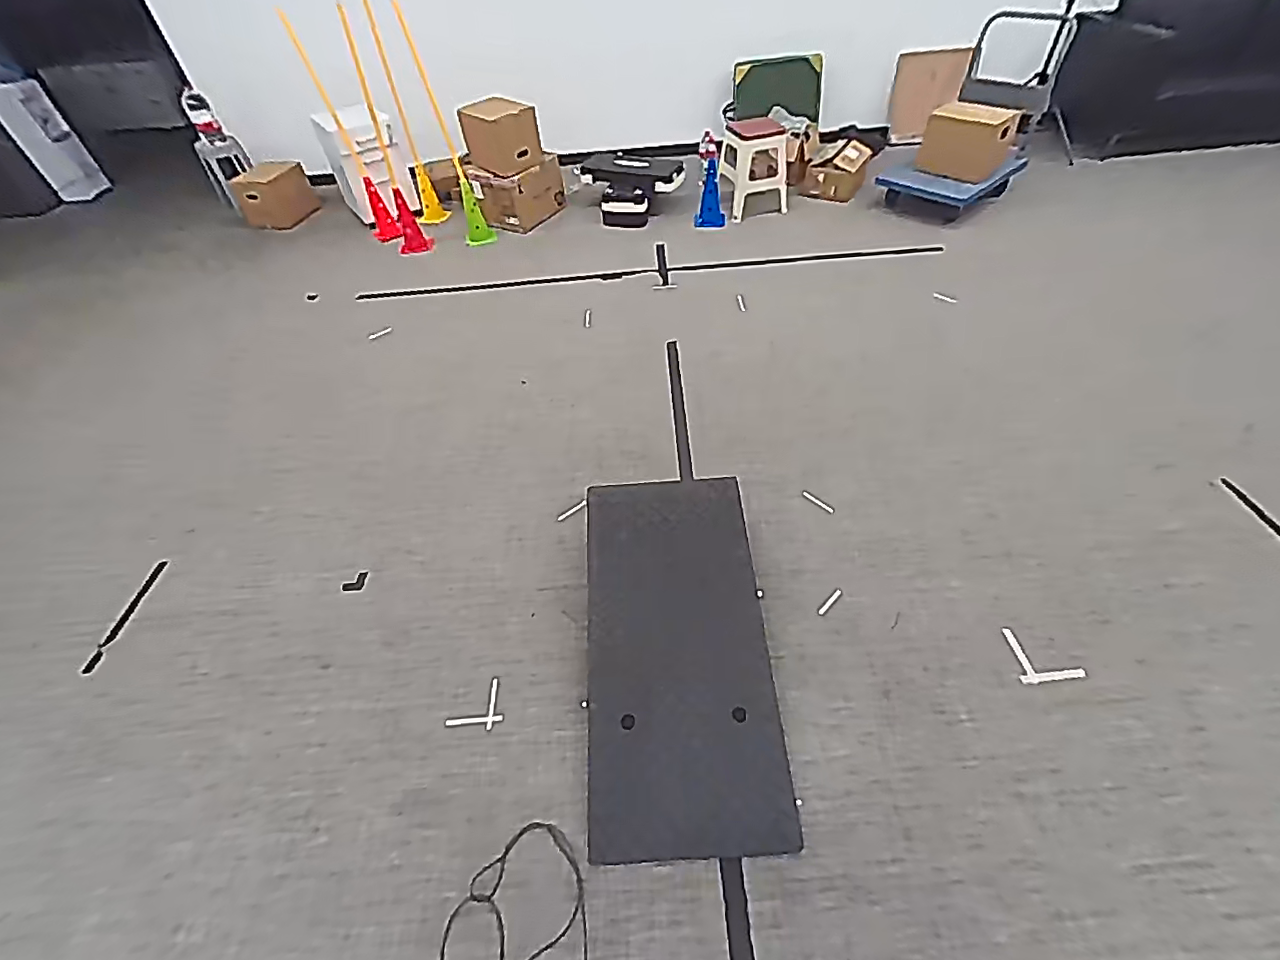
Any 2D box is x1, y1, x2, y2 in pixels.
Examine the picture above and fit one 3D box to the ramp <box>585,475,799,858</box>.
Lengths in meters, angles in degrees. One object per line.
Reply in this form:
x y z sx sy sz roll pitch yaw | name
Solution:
0.097 0.426 1.497 0.509 0.206 0.991 -5 48 -1 | ramp
